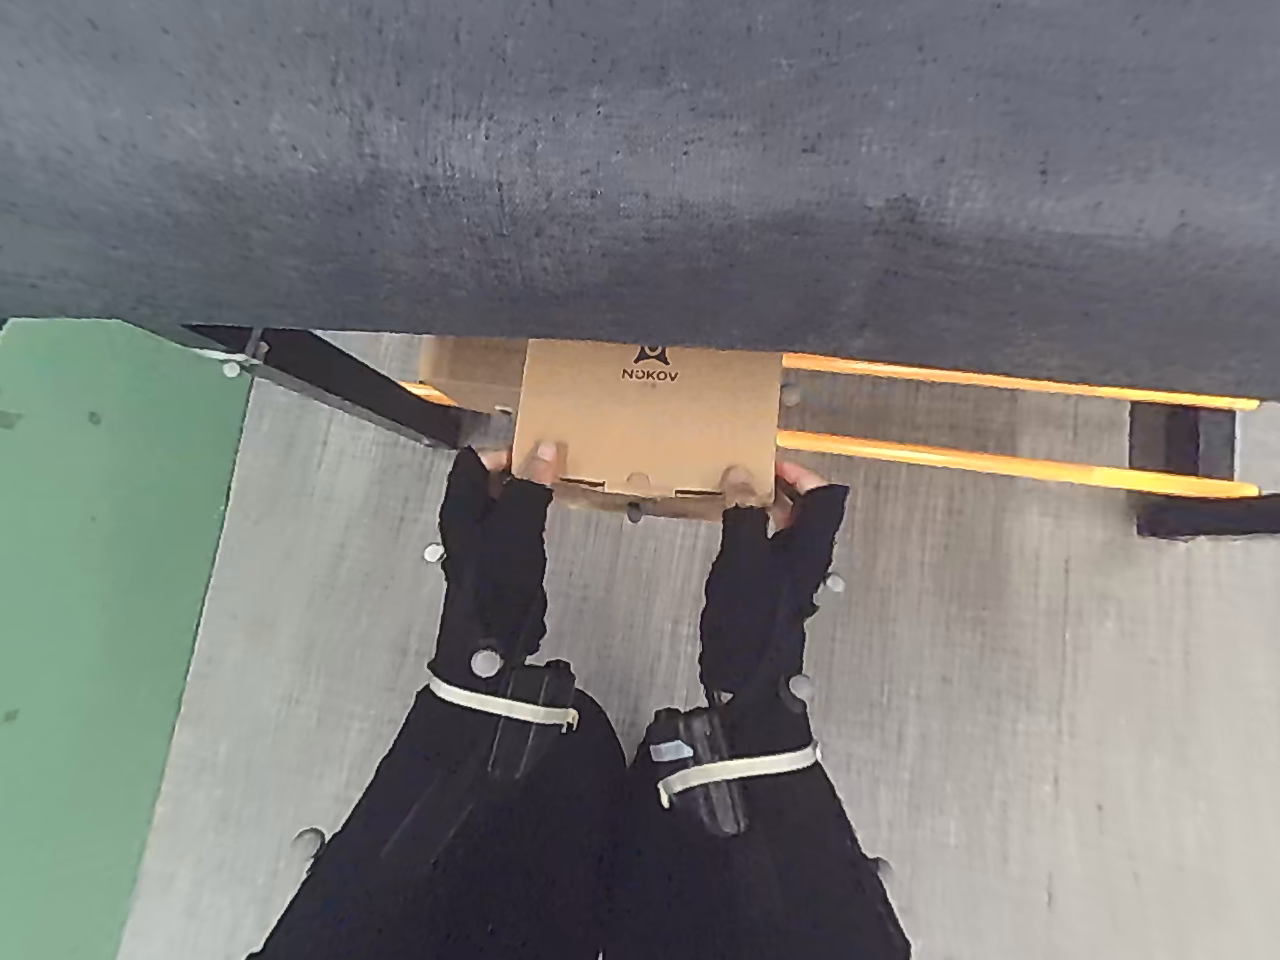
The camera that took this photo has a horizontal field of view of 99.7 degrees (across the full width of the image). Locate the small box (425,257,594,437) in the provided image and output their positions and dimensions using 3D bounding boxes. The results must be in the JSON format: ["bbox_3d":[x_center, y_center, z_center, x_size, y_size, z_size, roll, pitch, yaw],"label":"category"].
[{"bbox_3d":[-0.157,-0.165,0.714,0.168,0.176,0.179,6,84,3],"label":"small box"}]
